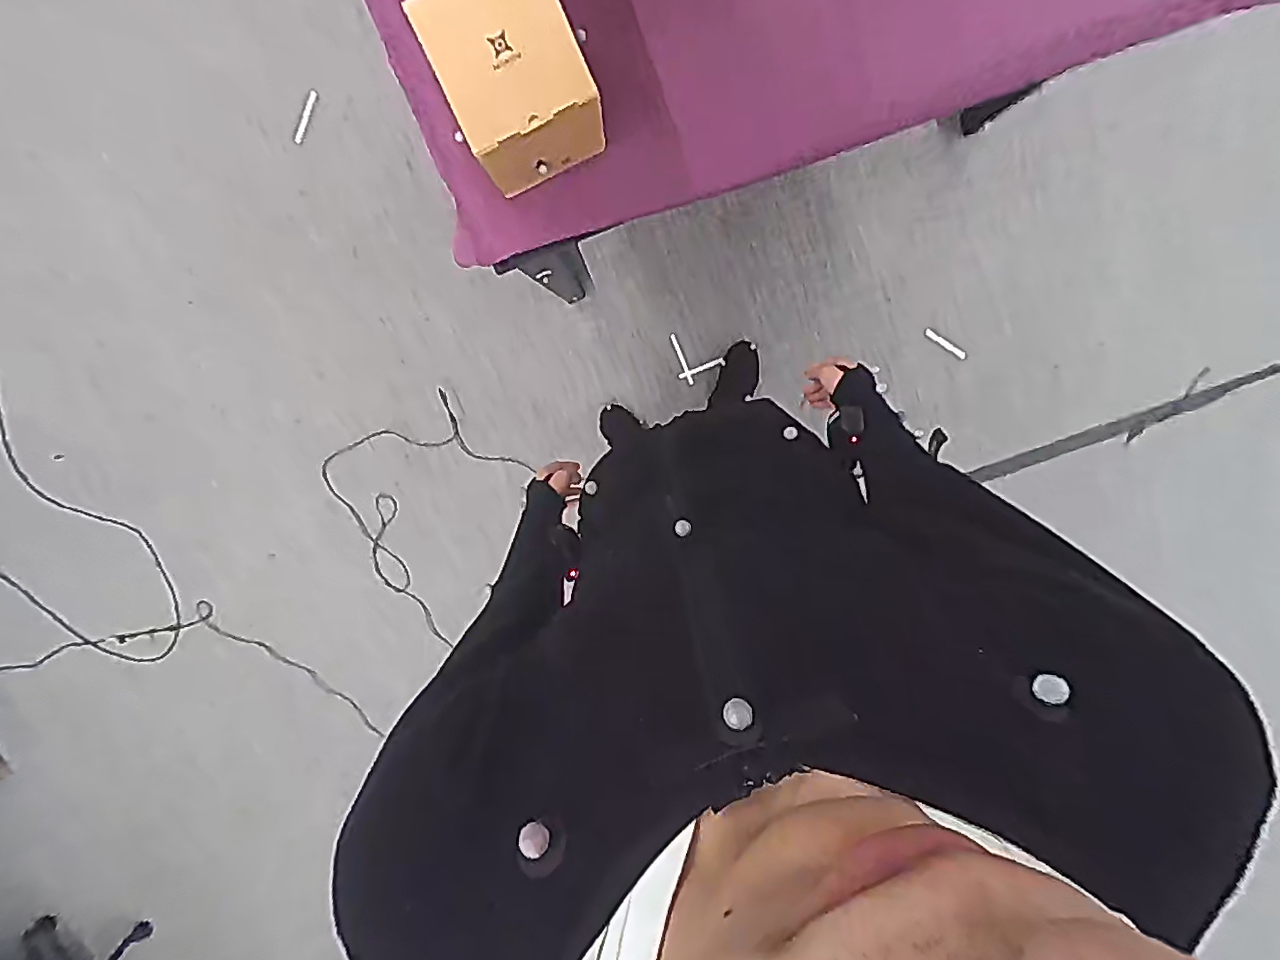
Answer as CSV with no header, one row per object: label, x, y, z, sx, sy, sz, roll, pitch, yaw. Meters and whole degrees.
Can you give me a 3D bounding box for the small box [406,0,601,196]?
small box,-0.160,-0.506,0.696,0.168,0.176,0.179,-25,102,4
